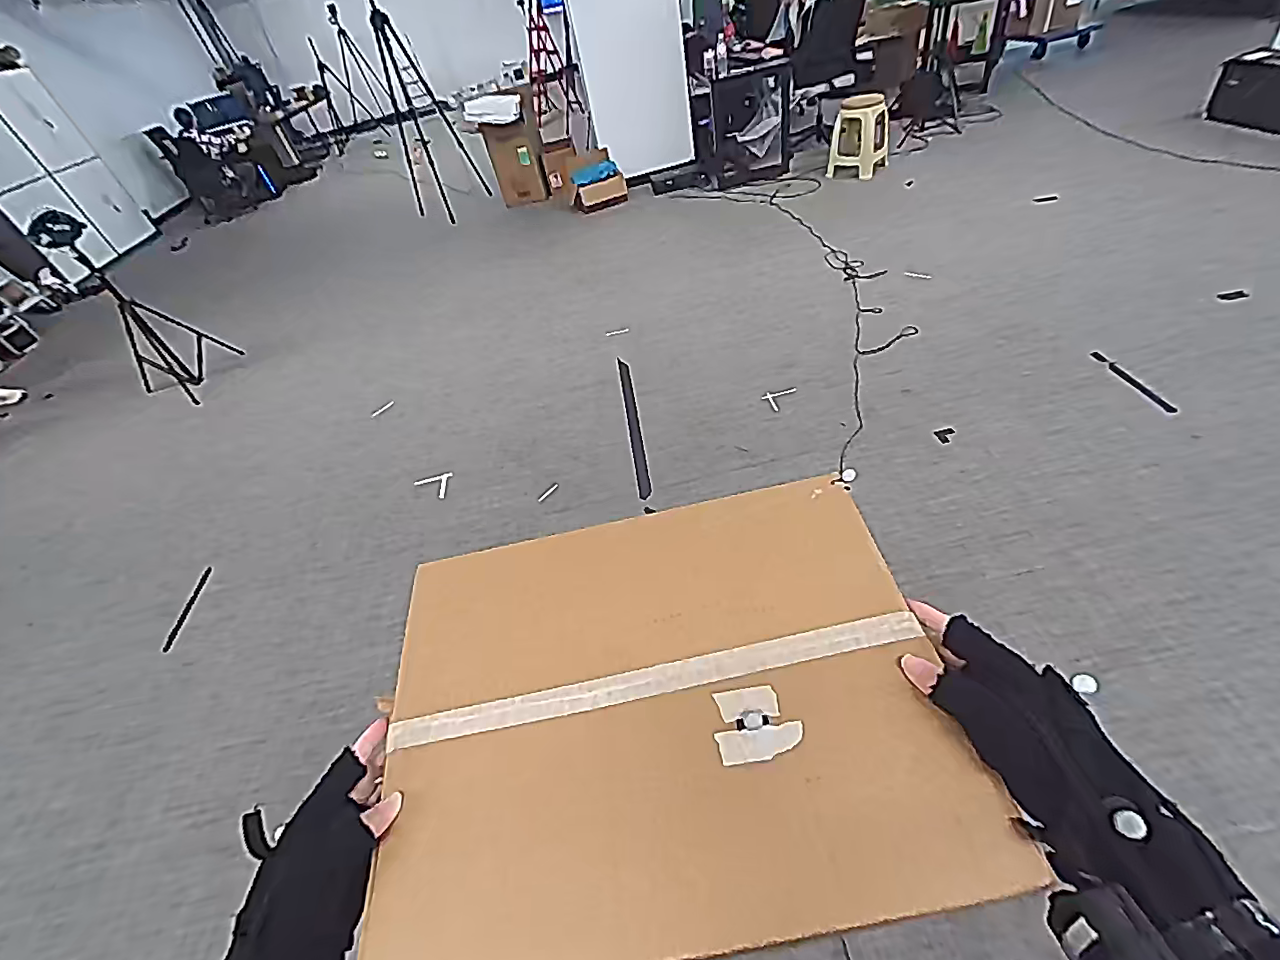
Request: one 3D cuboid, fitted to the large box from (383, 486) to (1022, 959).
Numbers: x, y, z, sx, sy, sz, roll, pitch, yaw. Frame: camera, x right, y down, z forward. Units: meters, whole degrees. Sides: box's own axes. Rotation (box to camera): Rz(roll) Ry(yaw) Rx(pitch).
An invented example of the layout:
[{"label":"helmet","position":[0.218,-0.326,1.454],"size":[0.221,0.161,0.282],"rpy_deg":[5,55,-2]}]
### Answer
[{"label":"large box","position":[0.035,0.255,0.530],"size":[0.408,0.320,0.320],"rpy_deg":[-12,49,1]}]
